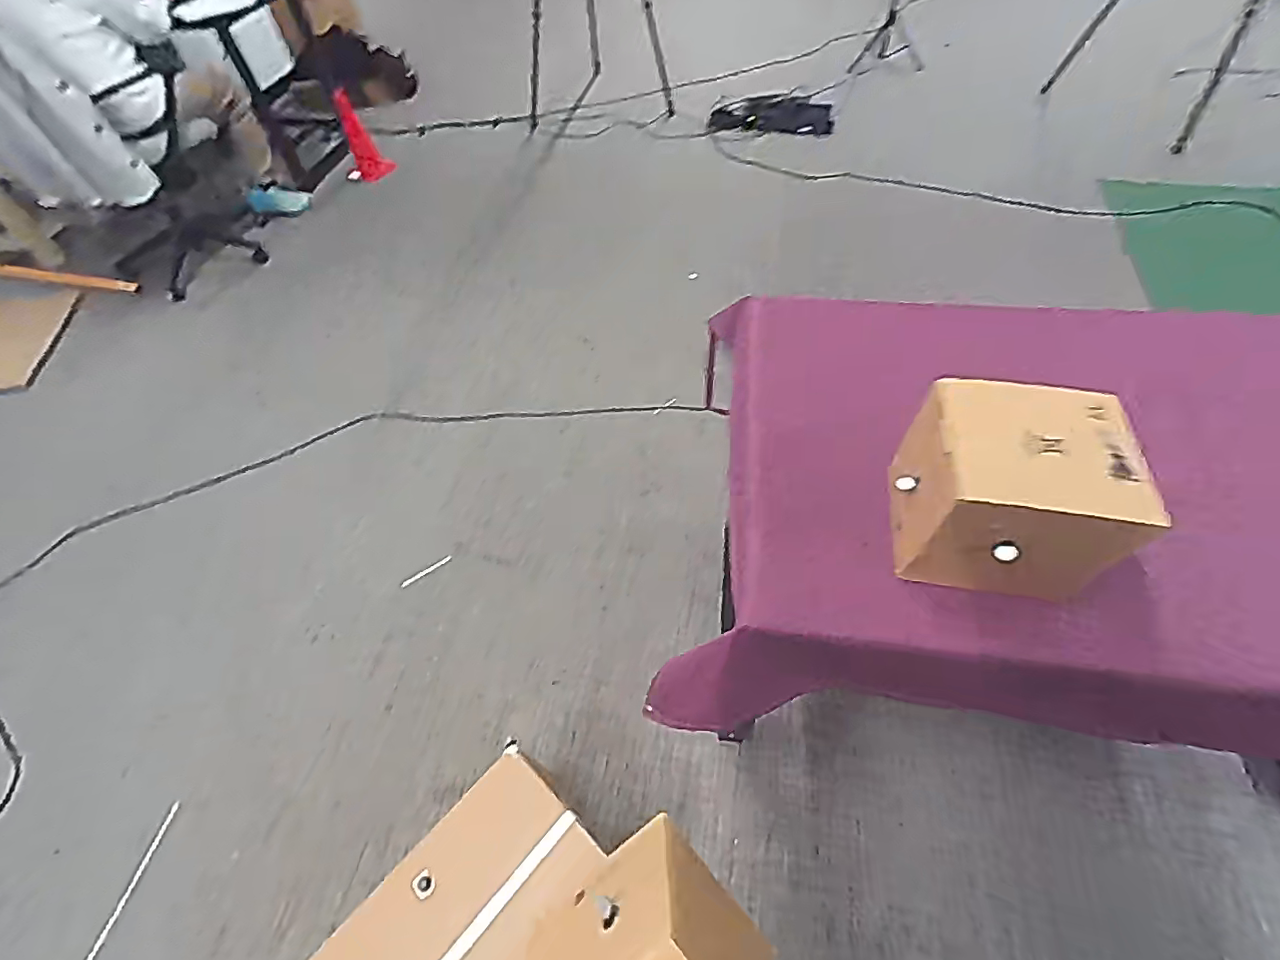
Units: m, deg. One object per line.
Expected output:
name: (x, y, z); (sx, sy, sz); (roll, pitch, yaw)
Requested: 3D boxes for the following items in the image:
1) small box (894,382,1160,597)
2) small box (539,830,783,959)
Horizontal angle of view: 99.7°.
small box: (0.393, 0.015, 0.596); (0.179, 0.176, 0.168); (7, 56, 10)
small box: (0.021, 0.432, 0.442); (0.168, 0.176, 0.179); (-39, 88, -1)
